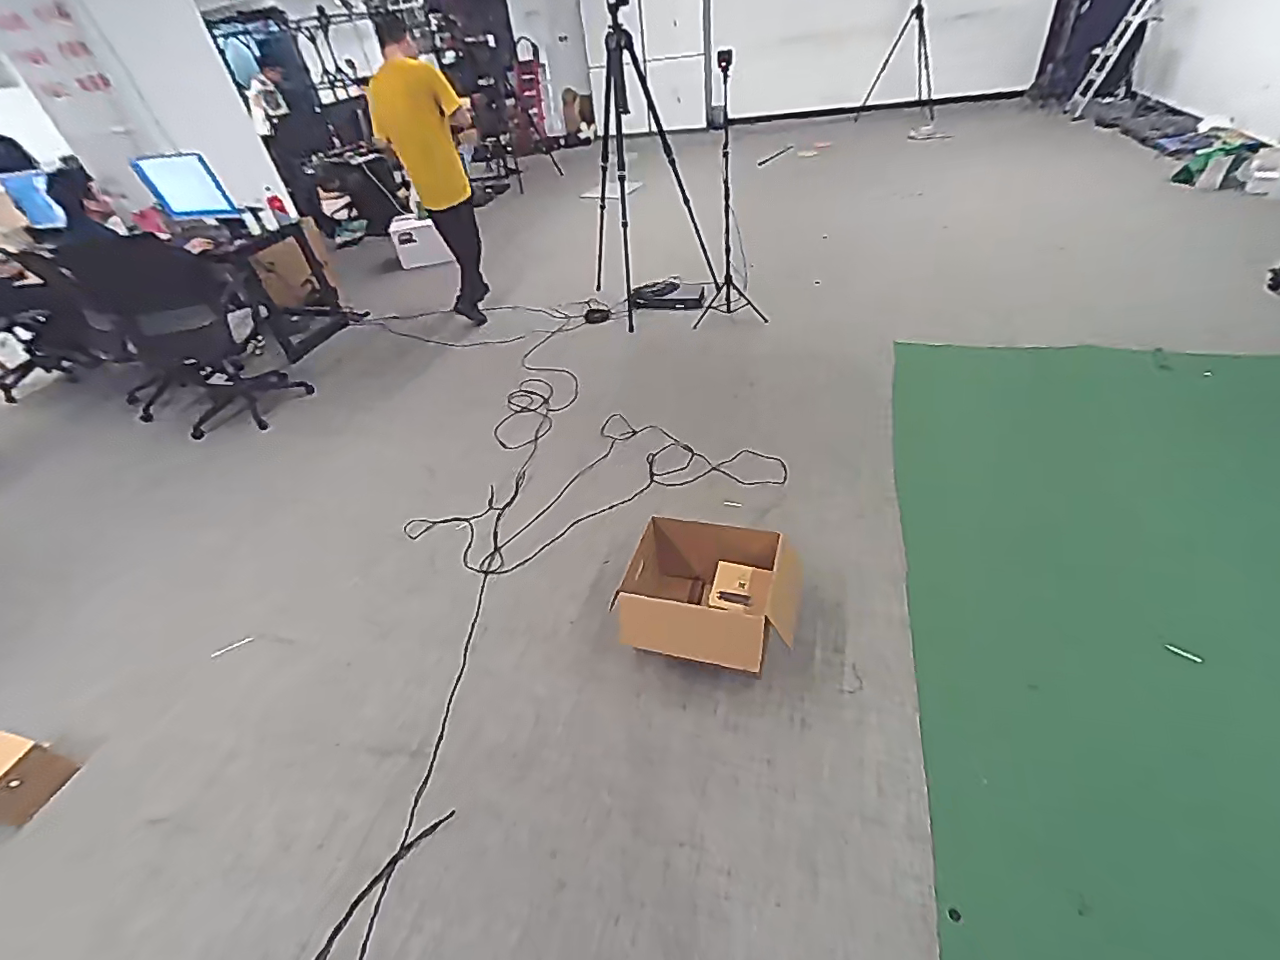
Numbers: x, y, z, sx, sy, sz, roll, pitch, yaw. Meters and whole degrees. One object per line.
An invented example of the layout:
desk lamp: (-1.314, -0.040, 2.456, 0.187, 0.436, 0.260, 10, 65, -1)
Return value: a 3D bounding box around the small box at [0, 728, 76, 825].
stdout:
small box: (-1.777, 0.839, 1.531, 0.168, 0.176, 0.179, 5, 44, 15)
